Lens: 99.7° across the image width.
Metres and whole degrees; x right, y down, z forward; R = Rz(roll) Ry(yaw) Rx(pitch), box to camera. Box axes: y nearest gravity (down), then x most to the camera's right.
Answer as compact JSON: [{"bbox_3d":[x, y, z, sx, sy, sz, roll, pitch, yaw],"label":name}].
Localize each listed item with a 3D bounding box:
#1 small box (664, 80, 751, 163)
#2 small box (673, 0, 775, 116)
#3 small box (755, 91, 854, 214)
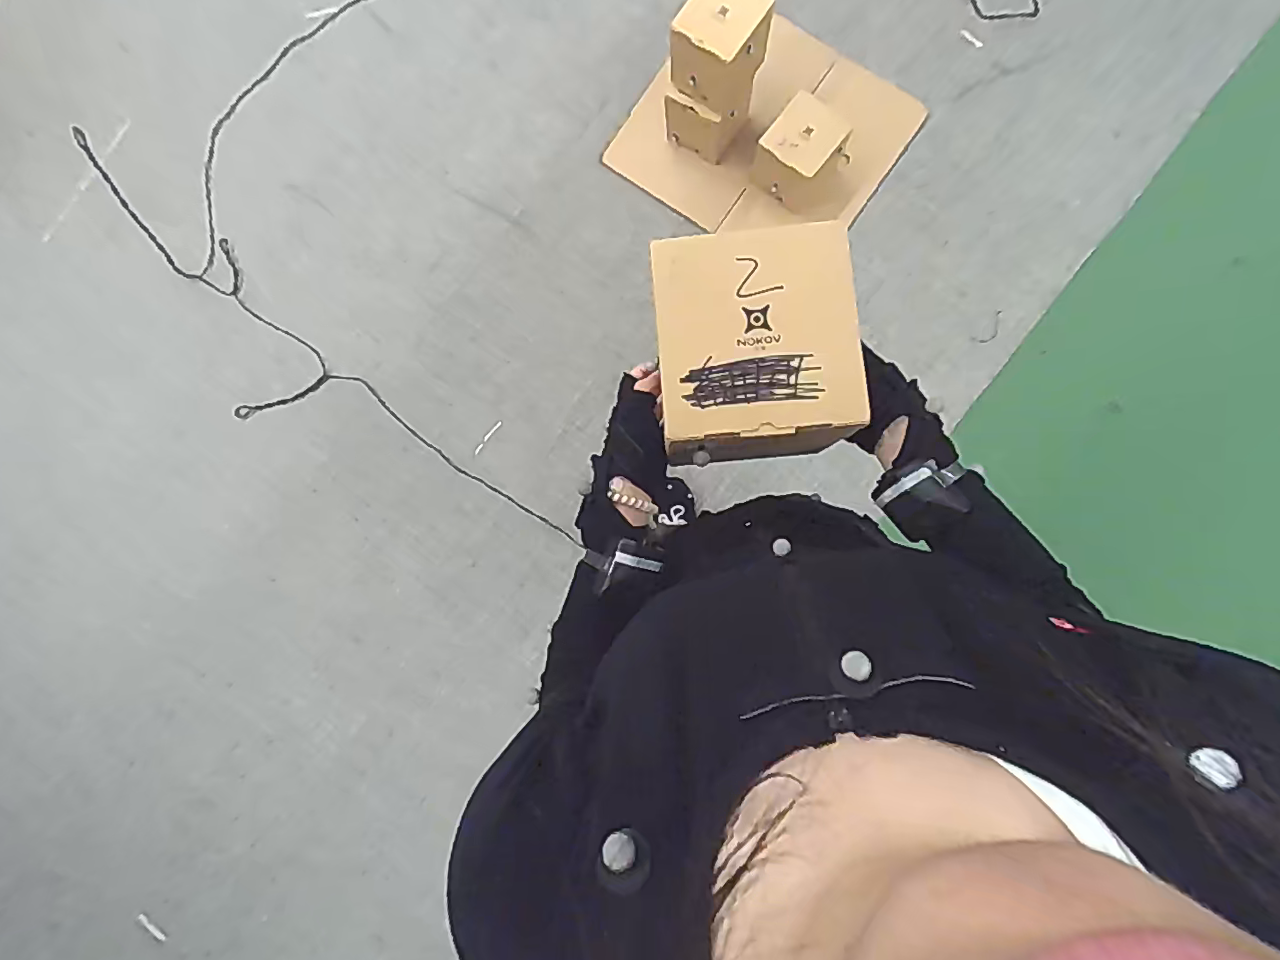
[{"bbox_3d":[0.183,-0.996,1.440,0.168,0.176,0.179,33,90,5],"label":"small box"},{"bbox_3d":[0.190,-1.024,1.278,0.168,0.176,0.179,36,91,5],"label":"small box"},{"bbox_3d":[0.418,-0.848,1.417,0.168,0.176,0.179,40,92,6],"label":"small box"}]
